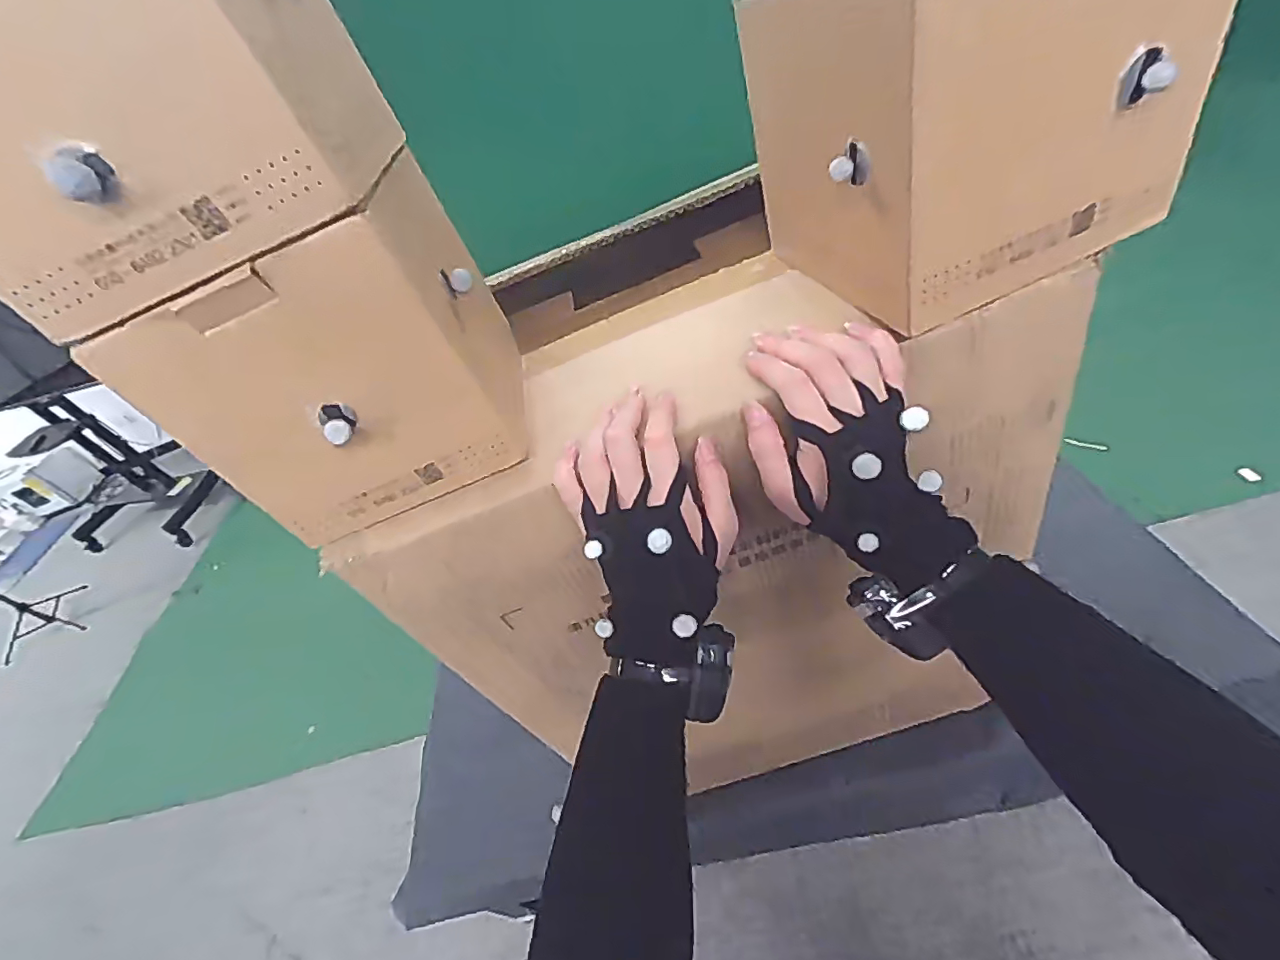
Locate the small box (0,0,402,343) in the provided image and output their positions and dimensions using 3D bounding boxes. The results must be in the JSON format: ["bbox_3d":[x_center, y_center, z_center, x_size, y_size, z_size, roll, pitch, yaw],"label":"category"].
[{"bbox_3d":[-0.245,-0.197,0.265,0.168,0.176,0.179,-22,42,6],"label":"small box"}]

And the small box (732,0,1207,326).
[{"bbox_3d":[0.178,-0.215,0.322,0.168,0.176,0.179,-24,41,-1],"label":"small box"}]

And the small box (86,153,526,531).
[{"bbox_3d":[-0.190,-0.087,0.375,0.168,0.176,0.179,-23,42,5],"label":"small box"}]
